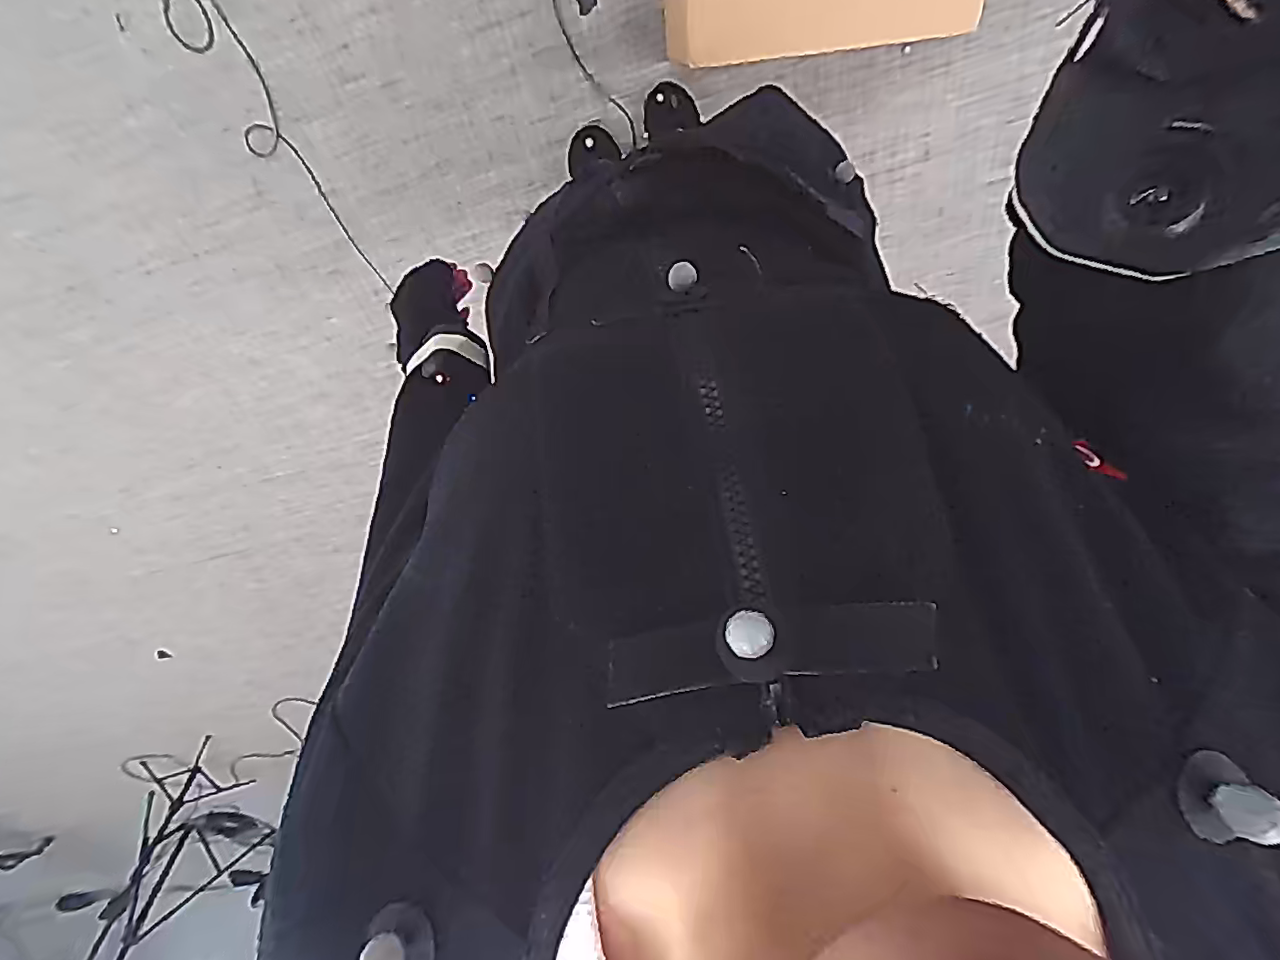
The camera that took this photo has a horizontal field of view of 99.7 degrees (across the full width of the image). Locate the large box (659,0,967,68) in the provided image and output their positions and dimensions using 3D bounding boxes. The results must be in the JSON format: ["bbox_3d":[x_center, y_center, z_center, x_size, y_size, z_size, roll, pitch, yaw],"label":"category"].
[{"bbox_3d":[0.232,-0.820,0.778,0.408,0.320,0.320,-6,129,1],"label":"large box"}]
